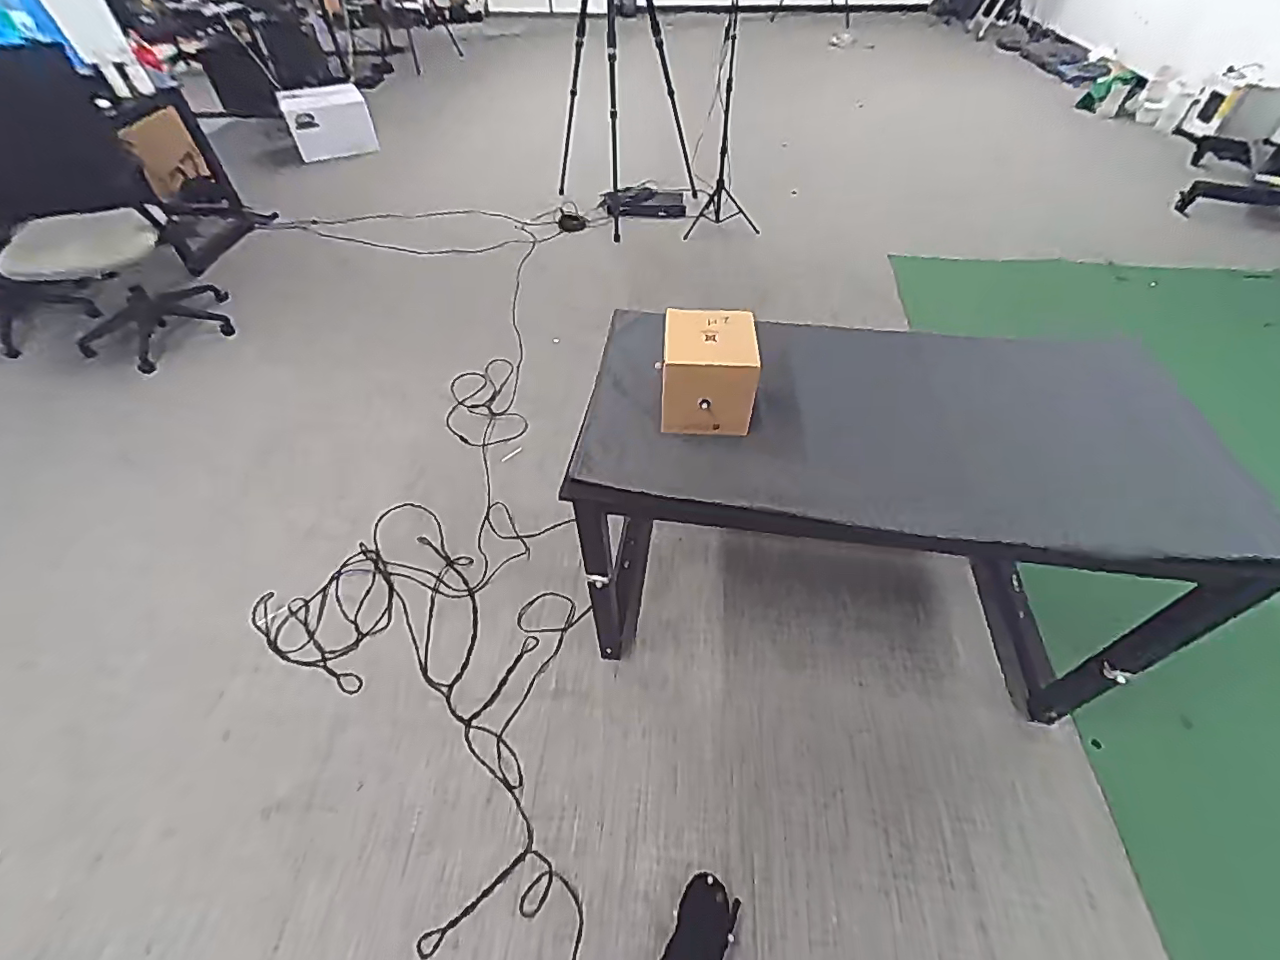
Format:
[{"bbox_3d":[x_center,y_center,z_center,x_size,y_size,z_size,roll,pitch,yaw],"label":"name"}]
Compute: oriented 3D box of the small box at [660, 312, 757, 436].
[{"bbox_3d":[0.125,-0.201,1.040,0.168,0.176,0.179,2,48,1],"label":"small box"}]
